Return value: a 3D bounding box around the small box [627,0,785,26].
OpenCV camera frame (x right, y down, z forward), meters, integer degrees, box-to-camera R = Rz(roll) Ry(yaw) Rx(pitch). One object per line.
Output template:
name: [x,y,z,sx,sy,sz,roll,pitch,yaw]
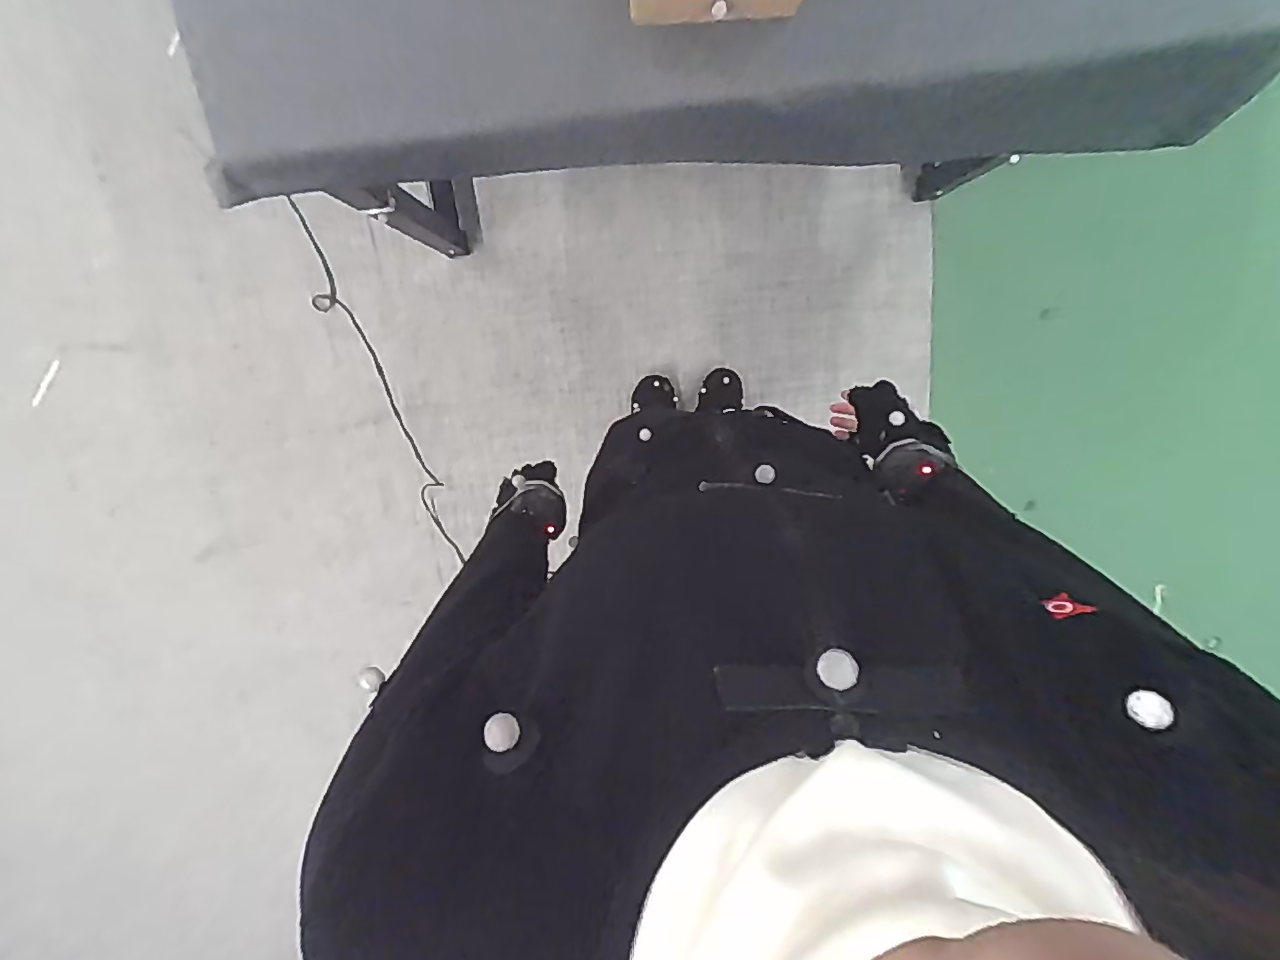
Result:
small box: [0.073,-0.556,0.489,0.179,0.176,0.168,-4,102,0]
